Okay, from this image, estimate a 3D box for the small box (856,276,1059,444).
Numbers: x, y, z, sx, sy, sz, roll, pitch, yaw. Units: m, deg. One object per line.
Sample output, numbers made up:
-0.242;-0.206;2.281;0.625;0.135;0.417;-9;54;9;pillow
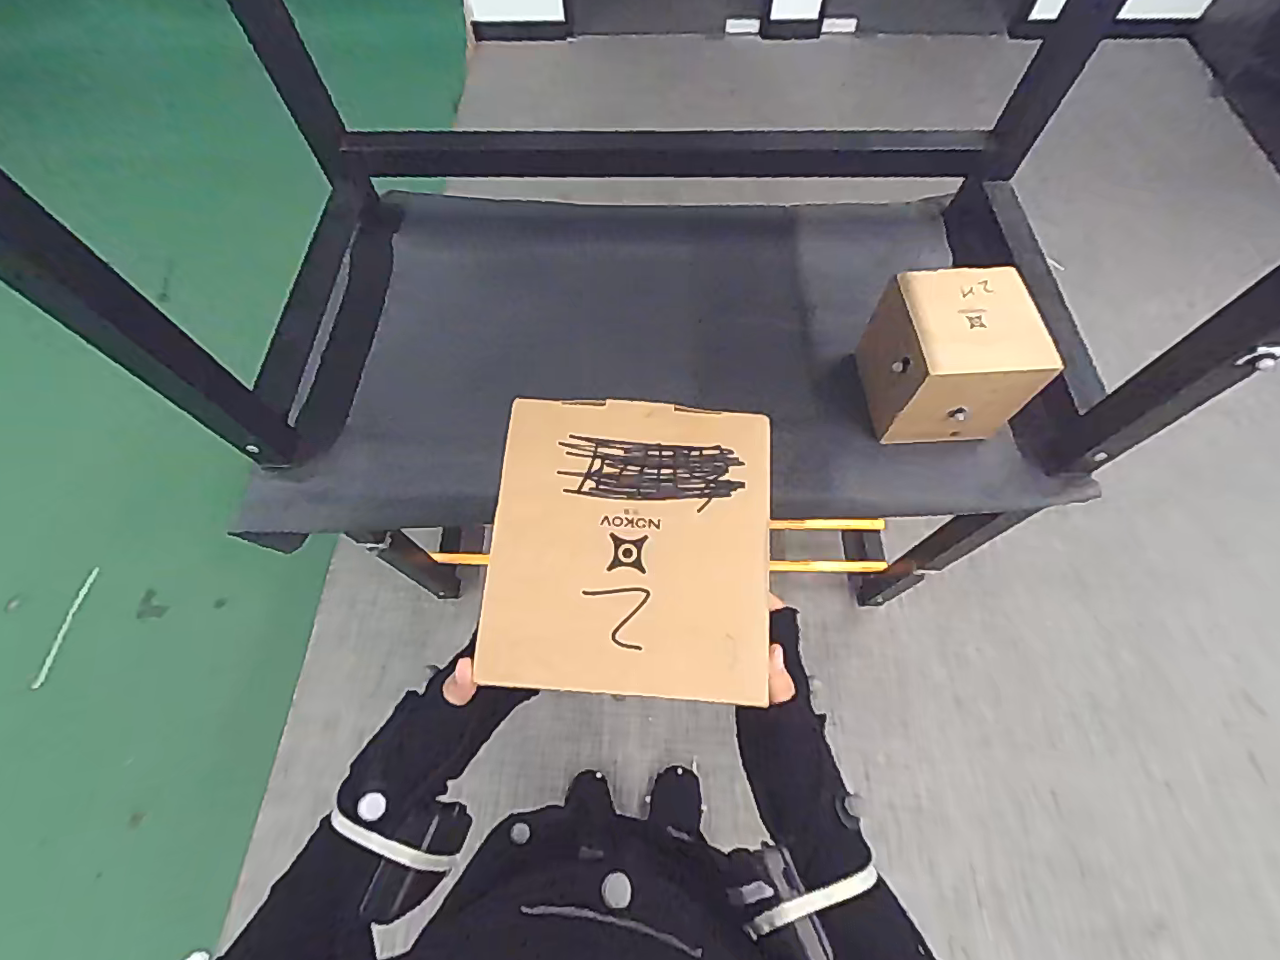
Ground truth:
0.429;-0.160;0.767;0.168;0.176;0.179;-3;62;-1;small box
